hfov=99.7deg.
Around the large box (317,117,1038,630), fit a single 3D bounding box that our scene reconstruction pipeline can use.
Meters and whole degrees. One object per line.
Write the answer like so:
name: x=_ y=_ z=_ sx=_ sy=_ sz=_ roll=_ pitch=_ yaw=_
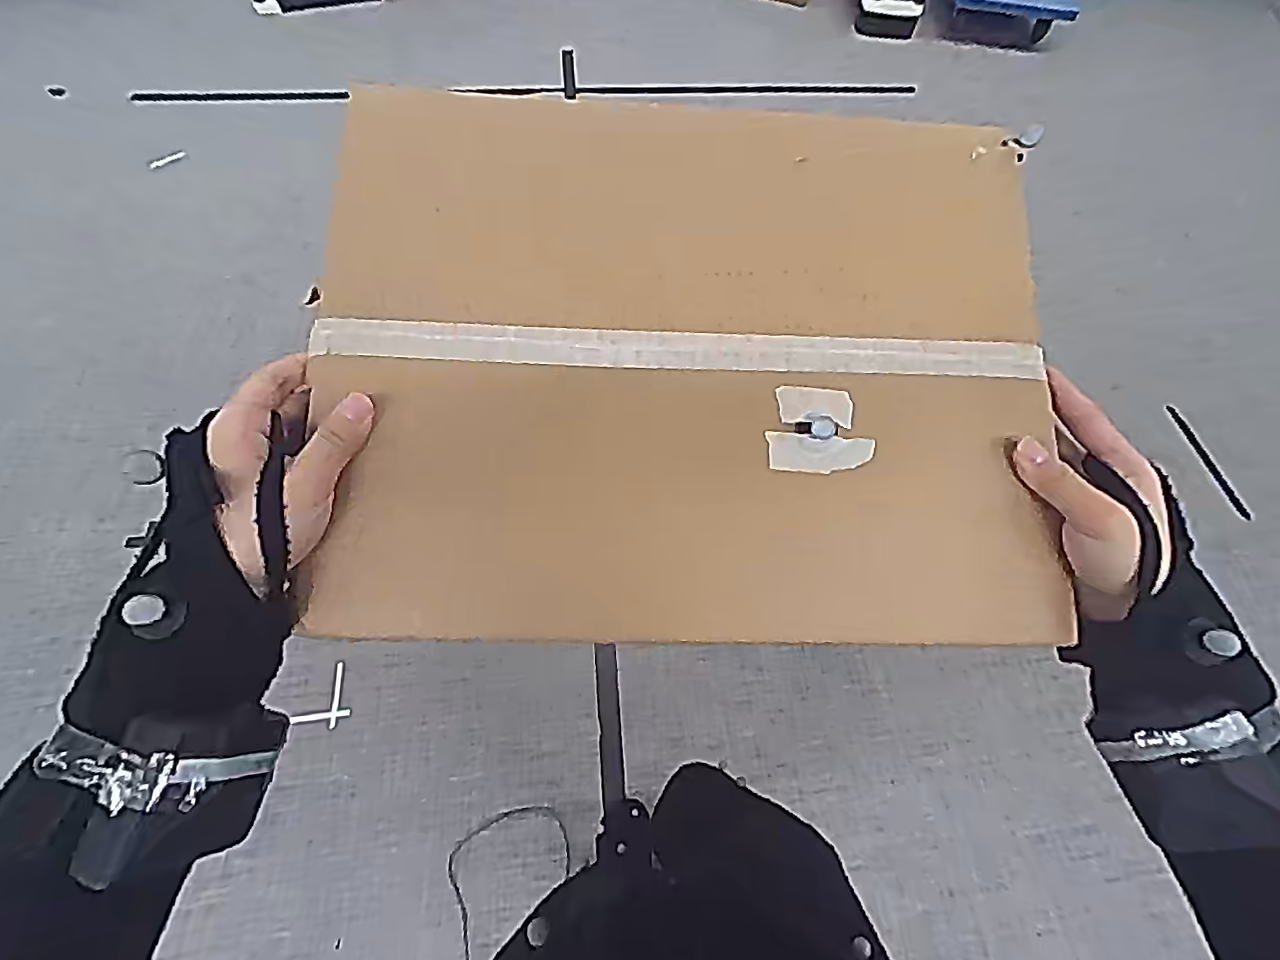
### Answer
large box: x=0.017 y=-0.047 z=0.464 sx=0.408 sy=0.320 sz=0.320 roll=1 pitch=81 yaw=-4
